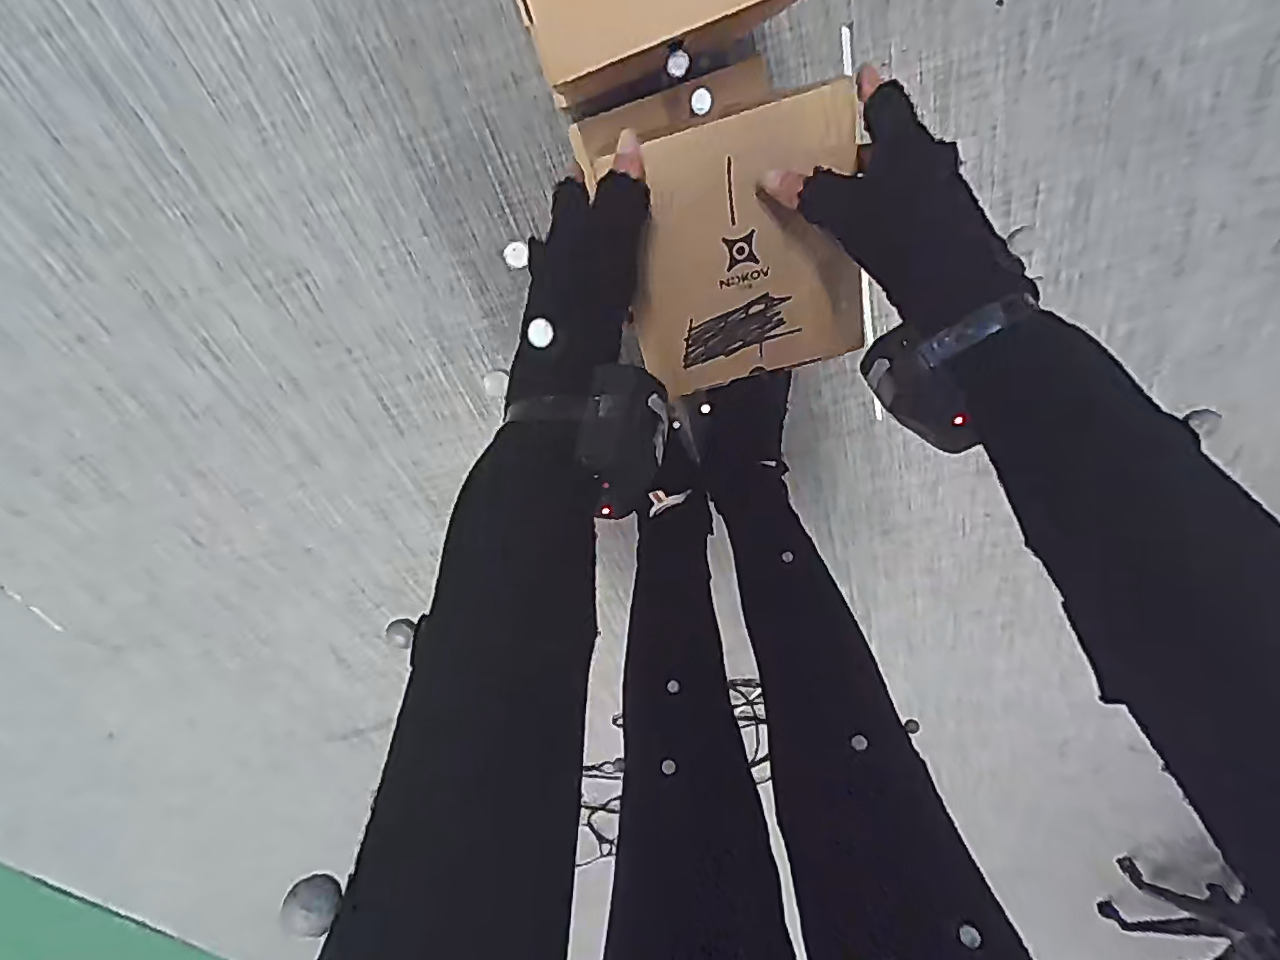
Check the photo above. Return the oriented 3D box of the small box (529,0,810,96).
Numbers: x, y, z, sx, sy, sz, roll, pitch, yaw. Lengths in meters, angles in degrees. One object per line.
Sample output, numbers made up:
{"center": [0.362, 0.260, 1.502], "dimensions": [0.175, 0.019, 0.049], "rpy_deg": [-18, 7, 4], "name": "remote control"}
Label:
{"center": [0.007, -0.364, 0.335], "dimensions": [0.179, 0.176, 0.168], "rpy_deg": [-16, 123, 9], "name": "small box"}
